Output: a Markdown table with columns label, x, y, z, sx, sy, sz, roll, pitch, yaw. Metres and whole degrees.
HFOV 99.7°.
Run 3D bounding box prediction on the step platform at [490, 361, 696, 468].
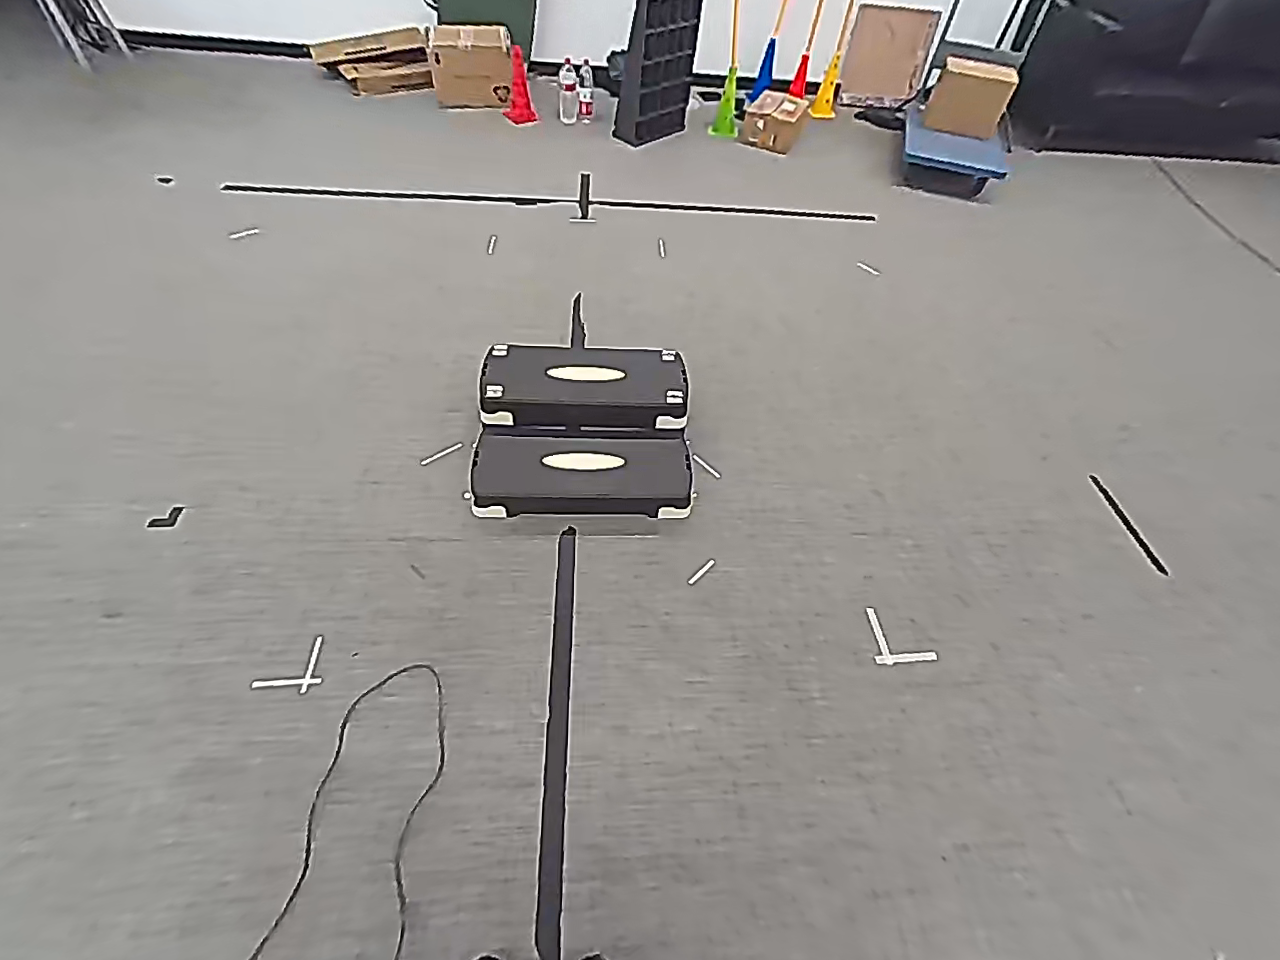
| label | x | y | z | sx | sy | sz | roll | pitch | yaw |
| --- | --- | --- | --- | --- | --- | --- | --- | --- | --- |
| step platform | -0.153 | -0.226 | 1.835 | 0.684 | 0.204 | 0.286 | 5 | 50 | -3 |
